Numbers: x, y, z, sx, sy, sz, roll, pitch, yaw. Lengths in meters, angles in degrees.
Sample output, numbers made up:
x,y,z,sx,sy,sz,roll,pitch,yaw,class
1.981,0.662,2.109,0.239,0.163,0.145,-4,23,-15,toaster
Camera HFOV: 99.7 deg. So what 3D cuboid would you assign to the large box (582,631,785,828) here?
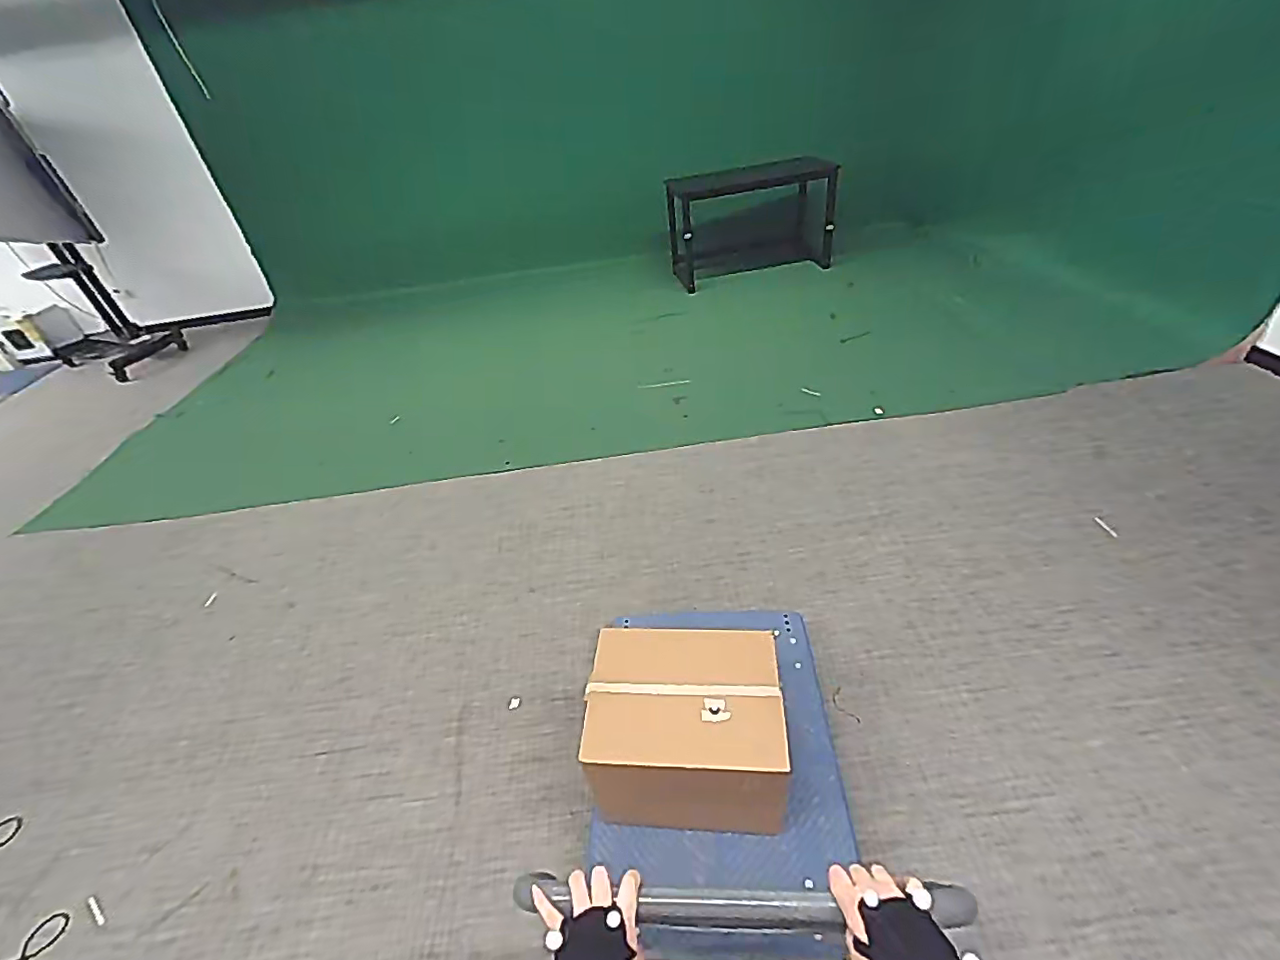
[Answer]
x,y,z,sx,sy,sz,roll,pitch,yaw,class
0.101,0.570,1.251,0.408,0.320,0.320,-1,38,7,large box
